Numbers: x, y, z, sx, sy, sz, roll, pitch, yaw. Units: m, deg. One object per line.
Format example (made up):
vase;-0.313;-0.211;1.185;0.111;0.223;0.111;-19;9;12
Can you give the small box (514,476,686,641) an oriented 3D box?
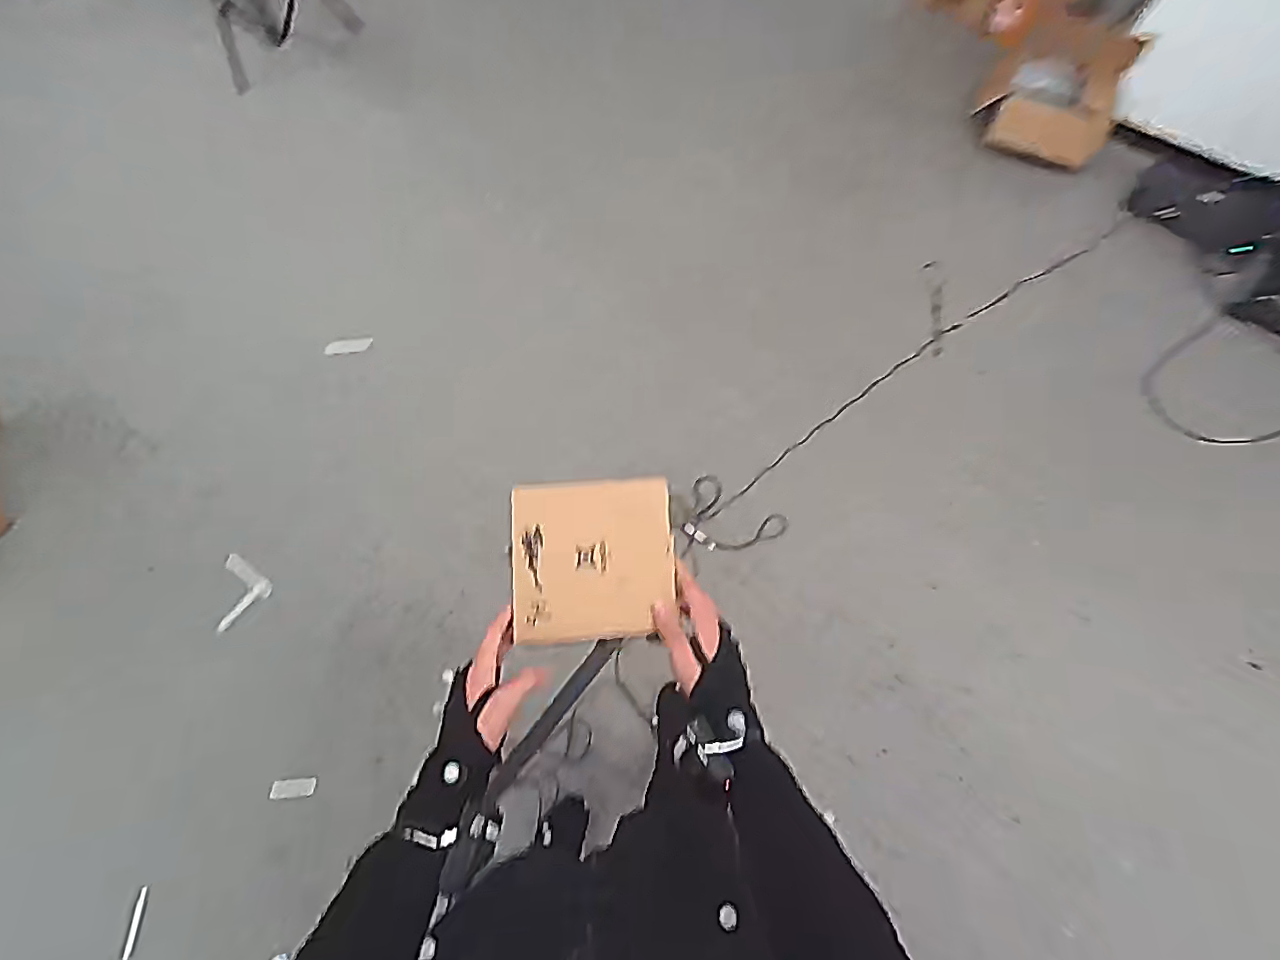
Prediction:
small box;-0.050;0.099;0.647;0.179;0.176;0.168;-4;74;-4
